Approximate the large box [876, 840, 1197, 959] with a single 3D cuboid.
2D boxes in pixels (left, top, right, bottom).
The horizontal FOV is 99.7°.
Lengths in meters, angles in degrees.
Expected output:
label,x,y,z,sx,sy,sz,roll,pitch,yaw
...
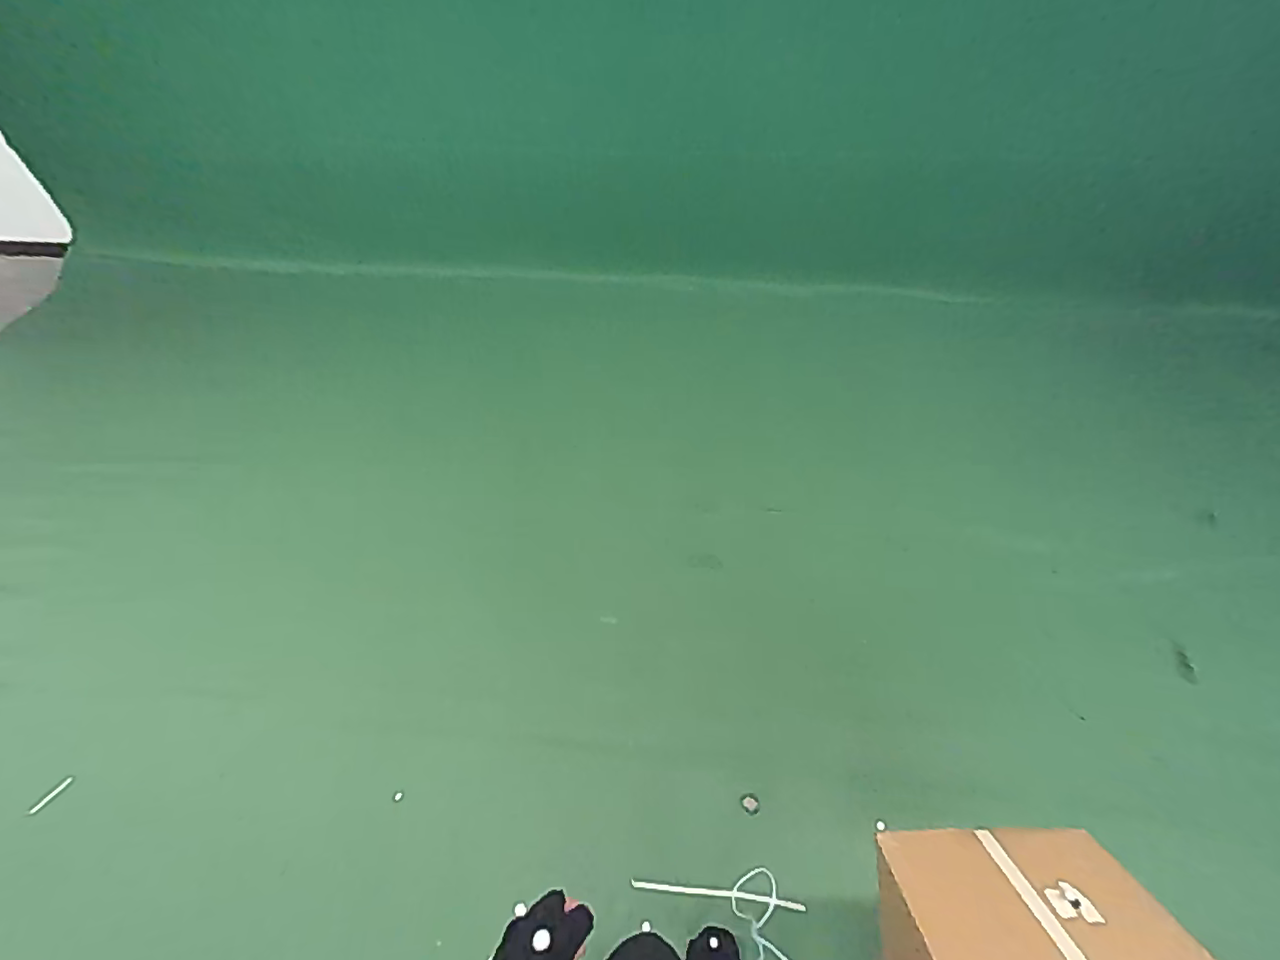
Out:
label,x,y,z,sx,sy,sz,roll,pitch,yaw
large box,0.522,0.730,0.652,0.320,0.408,0.320,-4,94,5
